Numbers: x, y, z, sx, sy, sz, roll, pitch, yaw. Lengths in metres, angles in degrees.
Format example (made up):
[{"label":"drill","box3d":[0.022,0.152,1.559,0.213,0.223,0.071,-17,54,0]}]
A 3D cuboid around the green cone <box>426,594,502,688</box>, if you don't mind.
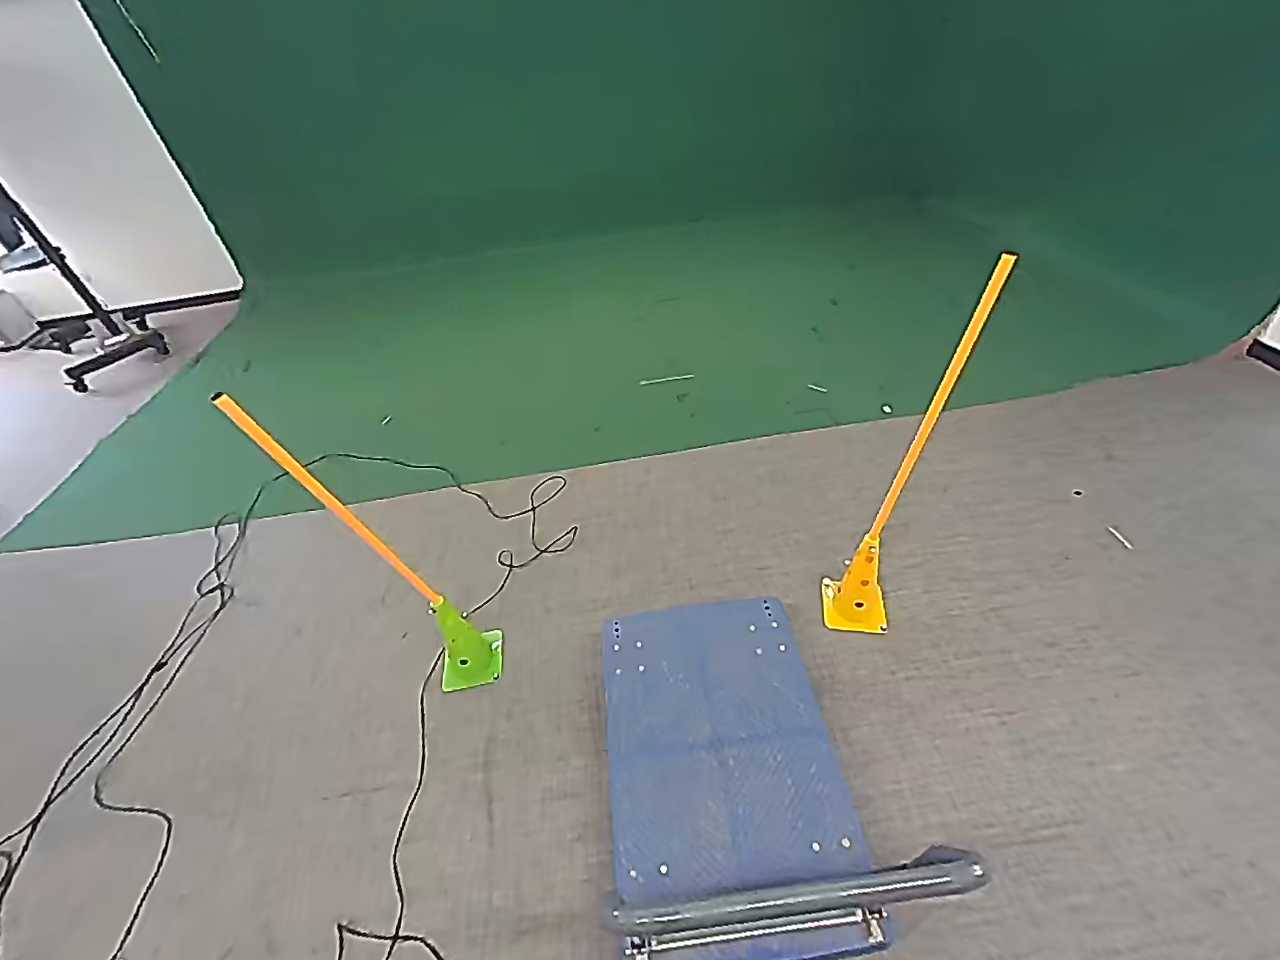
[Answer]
[{"label":"green cone","box3d":[-0.603,0.487,1.764,0.202,0.368,0.200,-13,42,-3]}]
